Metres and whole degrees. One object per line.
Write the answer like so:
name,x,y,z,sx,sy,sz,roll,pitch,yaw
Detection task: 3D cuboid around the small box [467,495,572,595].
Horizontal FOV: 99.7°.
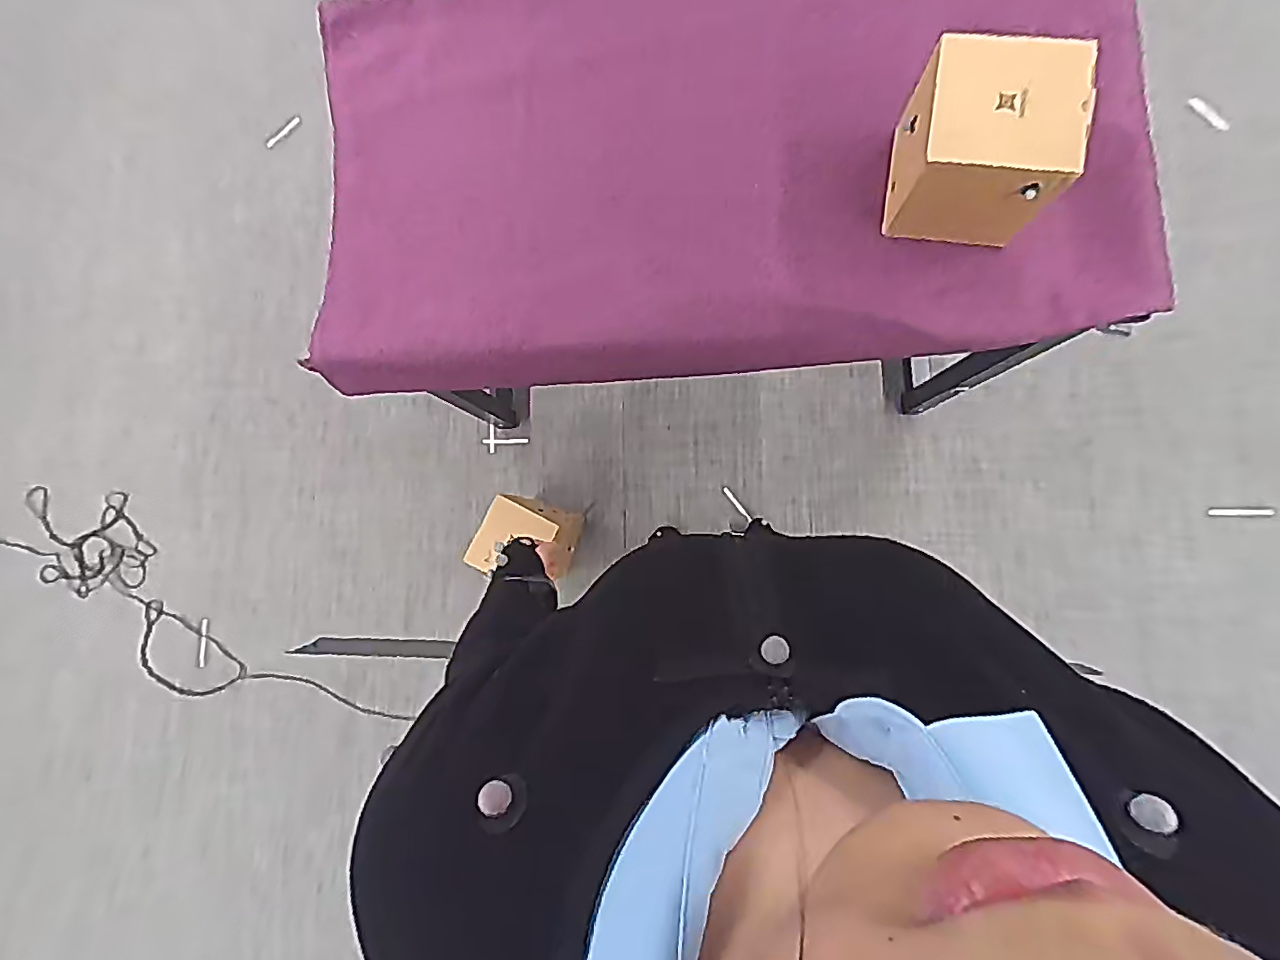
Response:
small box,-0.278,0.151,1.297,0.168,0.176,0.179,27,89,7

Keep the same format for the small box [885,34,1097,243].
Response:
small box,0.444,-0.435,0.712,0.179,0.176,0.168,8,86,7
